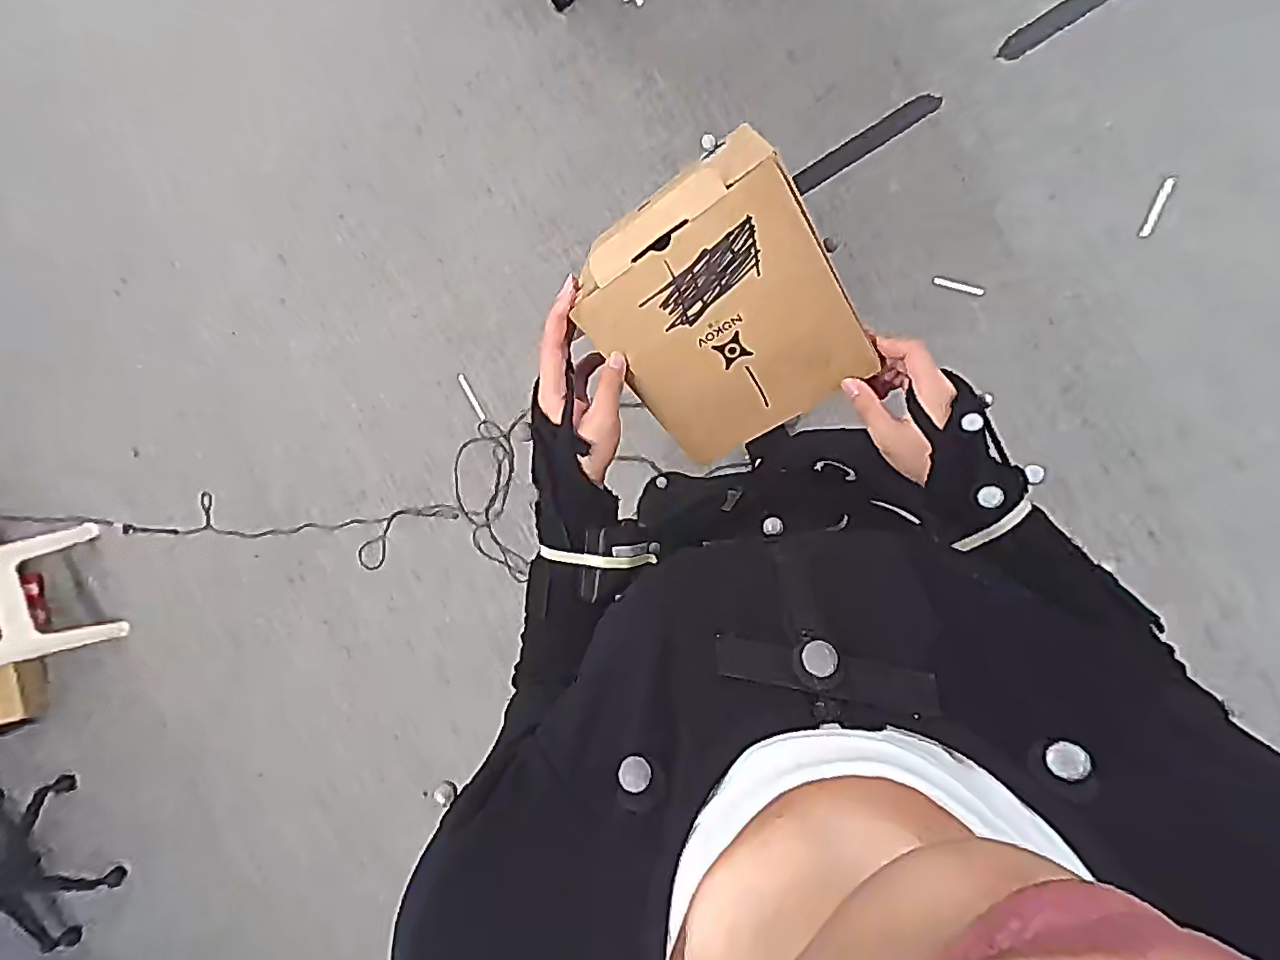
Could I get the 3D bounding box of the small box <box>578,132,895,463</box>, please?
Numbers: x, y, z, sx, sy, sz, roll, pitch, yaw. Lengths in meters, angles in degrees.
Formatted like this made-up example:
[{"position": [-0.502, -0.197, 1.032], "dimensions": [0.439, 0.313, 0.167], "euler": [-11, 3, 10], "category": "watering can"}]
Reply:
[{"position": [0.075, -0.153, 0.444], "dimensions": [0.168, 0.176, 0.179], "euler": [-27, 121, 24], "category": "small box"}]
